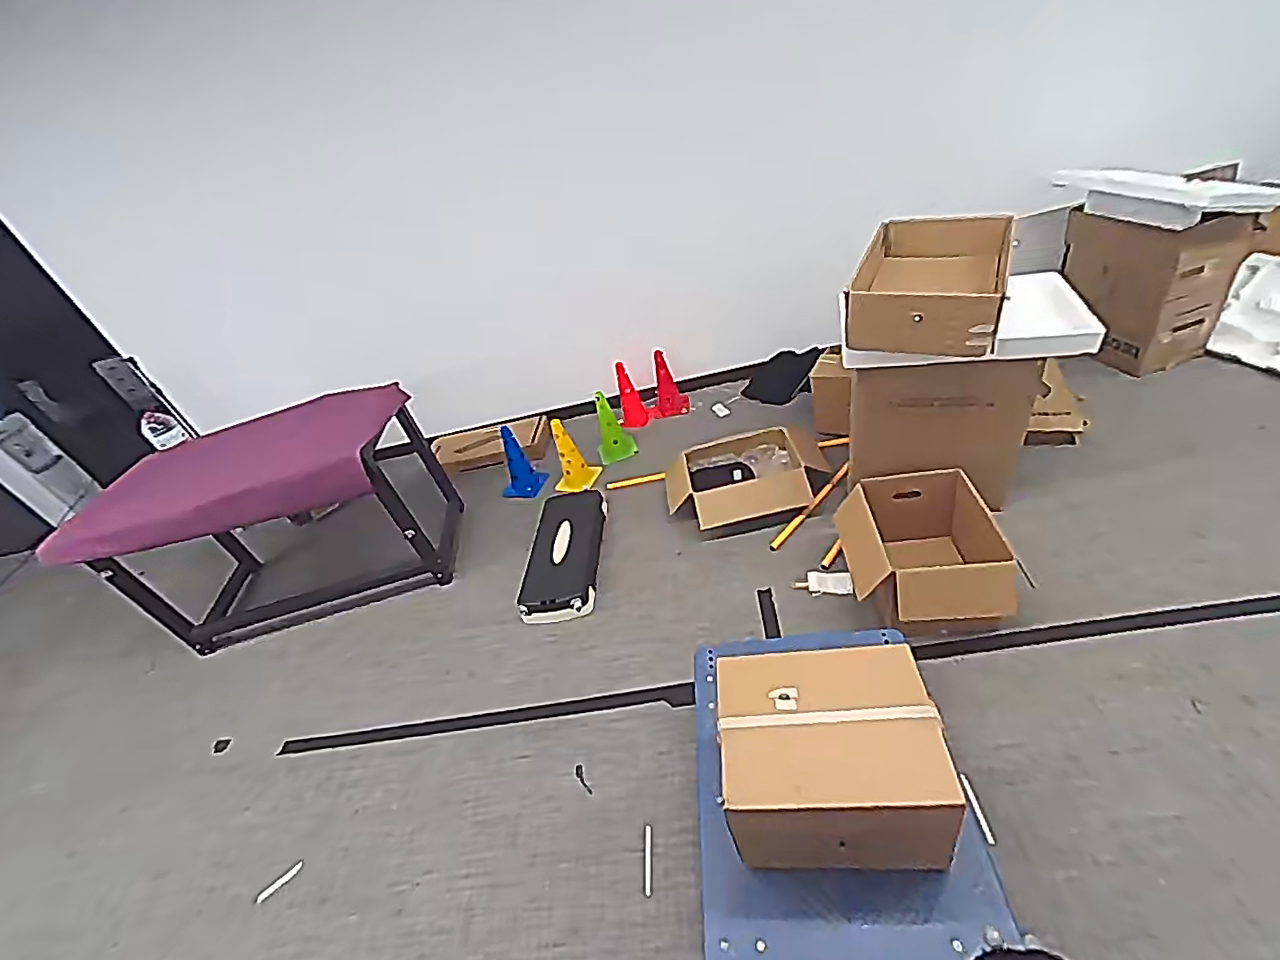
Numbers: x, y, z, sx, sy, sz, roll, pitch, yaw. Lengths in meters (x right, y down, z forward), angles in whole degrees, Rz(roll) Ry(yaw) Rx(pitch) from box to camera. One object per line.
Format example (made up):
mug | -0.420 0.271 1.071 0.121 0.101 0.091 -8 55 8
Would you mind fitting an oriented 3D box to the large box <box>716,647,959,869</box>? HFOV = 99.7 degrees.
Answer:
large box | 0.394 0.594 1.148 0.408 0.320 0.320 -10 36 12
